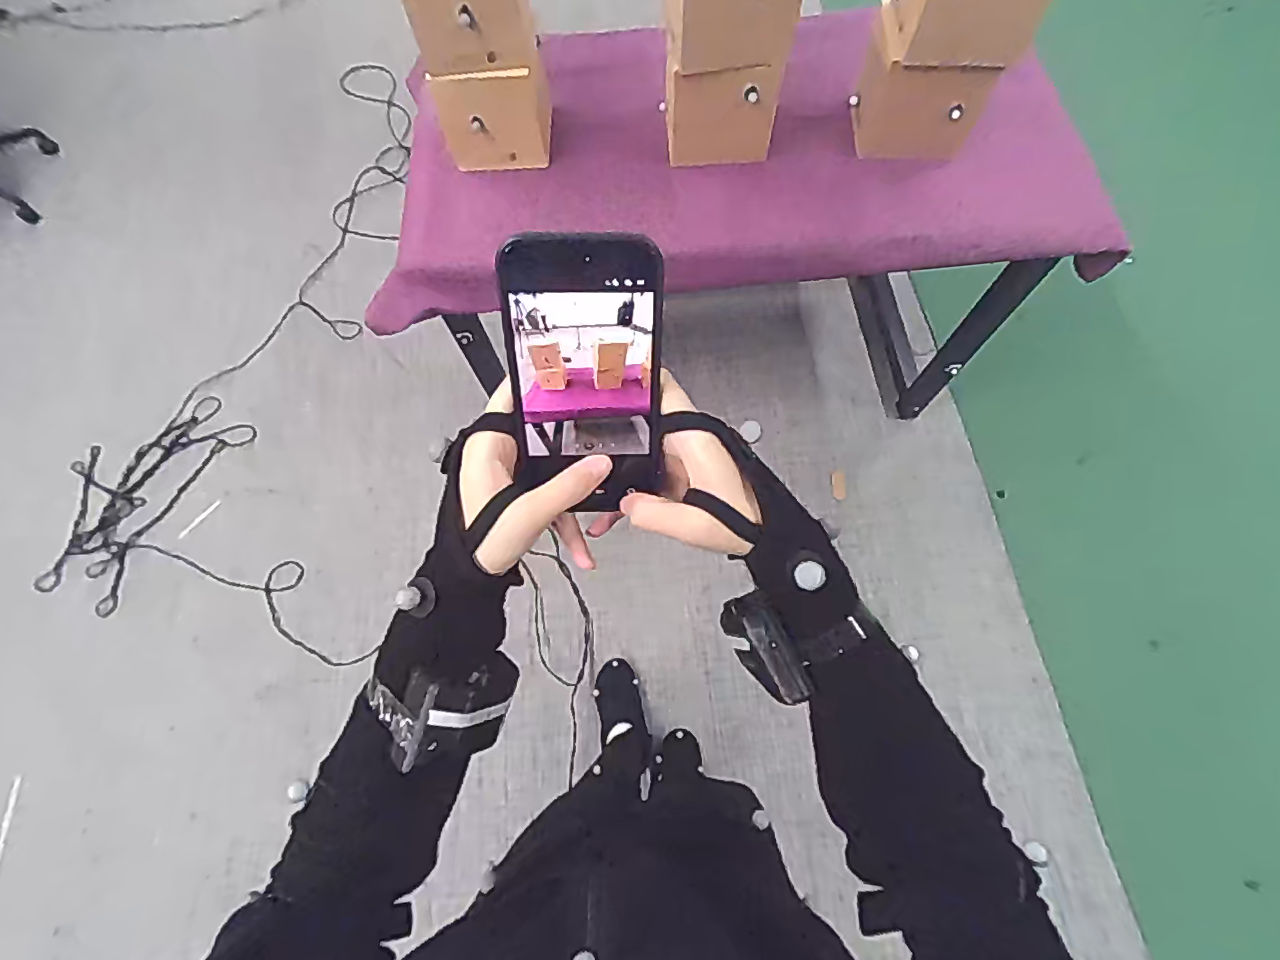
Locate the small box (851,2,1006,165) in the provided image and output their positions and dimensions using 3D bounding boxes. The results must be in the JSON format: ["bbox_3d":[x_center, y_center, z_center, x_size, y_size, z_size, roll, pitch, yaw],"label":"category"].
[{"bbox_3d":[0.481,-0.673,0.930,0.179,0.176,0.168,3,68,4],"label":"small box"}]

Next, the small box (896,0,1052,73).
[{"bbox_3d":[0.485,-0.721,0.773,0.179,0.176,0.168,3,68,3],"label":"small box"}]

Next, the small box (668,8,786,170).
[{"bbox_3d":[0.141,-0.672,0.941,0.179,0.176,0.168,-2,68,1],"label":"small box"}]

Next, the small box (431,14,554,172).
[{"bbox_3d":[-0.249,-0.674,0.958,0.168,0.176,0.179,-2,68,1],"label":"small box"}]

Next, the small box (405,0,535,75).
[{"bbox_3d":[-0.255,-0.743,0.809,0.168,0.176,0.179,-7,69,-1],"label":"small box"}]
